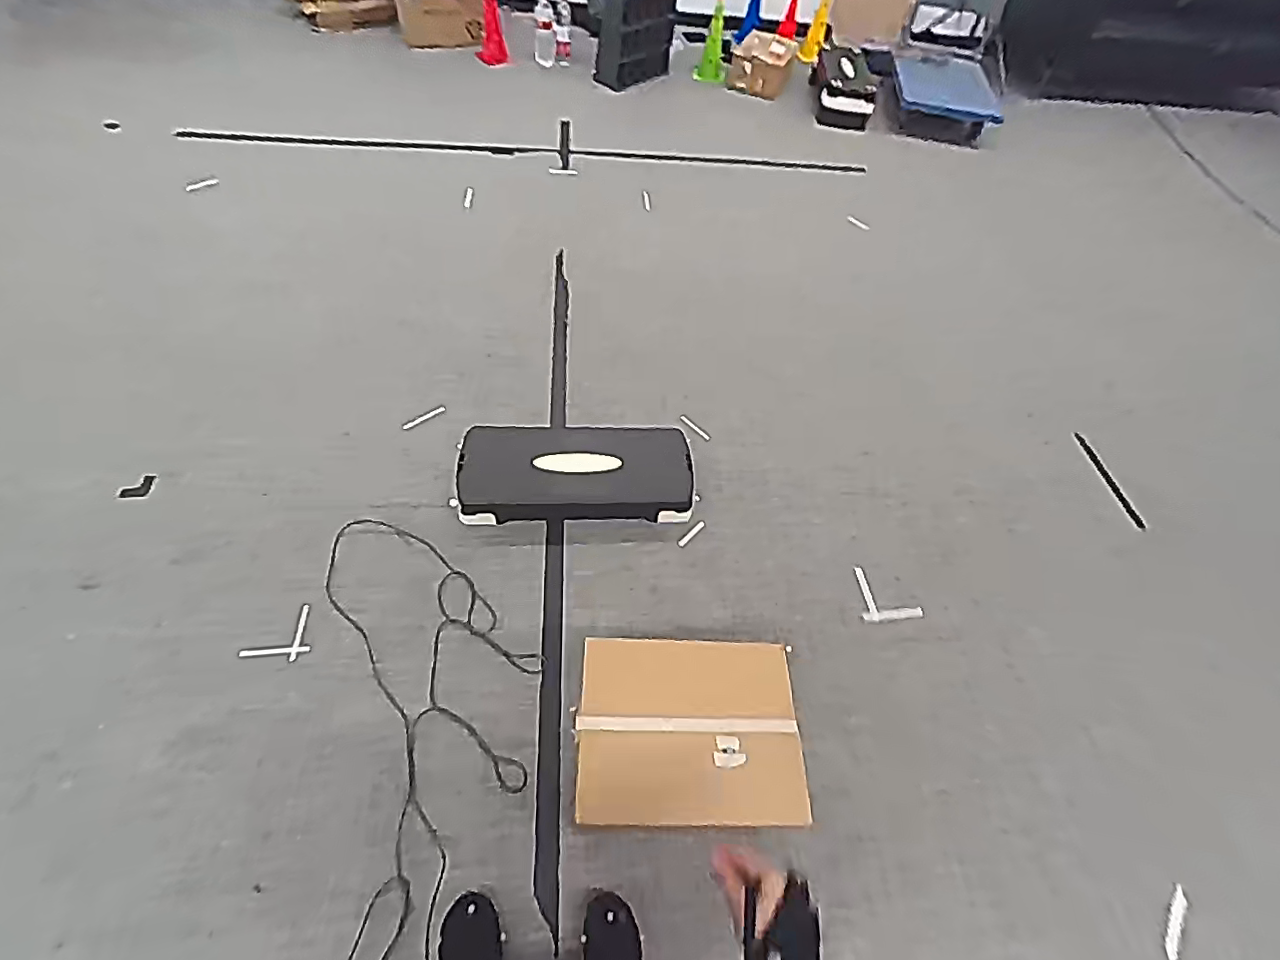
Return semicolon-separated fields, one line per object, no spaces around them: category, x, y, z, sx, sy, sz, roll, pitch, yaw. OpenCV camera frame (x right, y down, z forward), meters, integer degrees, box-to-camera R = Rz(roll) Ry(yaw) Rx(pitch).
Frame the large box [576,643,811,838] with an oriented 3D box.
large box;0.076;0.538;1.106;0.408;0.320;0.320;3;55;-5
